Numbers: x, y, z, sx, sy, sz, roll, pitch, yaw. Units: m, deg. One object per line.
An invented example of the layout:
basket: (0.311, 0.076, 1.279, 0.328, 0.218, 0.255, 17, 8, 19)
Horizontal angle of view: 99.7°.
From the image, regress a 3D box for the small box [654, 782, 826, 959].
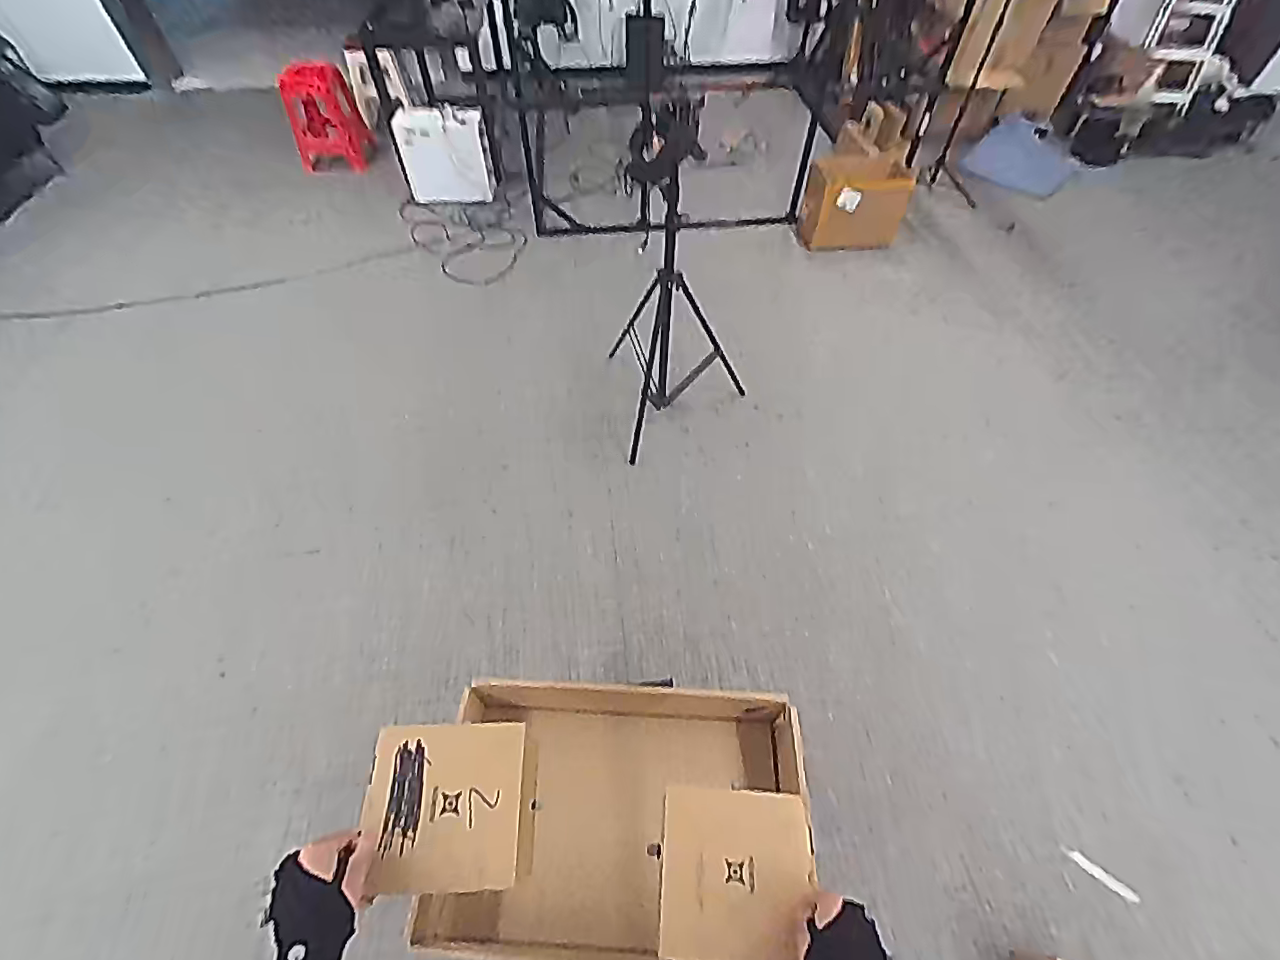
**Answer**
small box: (0.112, 0.485, 0.669, 0.179, 0.176, 0.168, 4, 53, 2)
